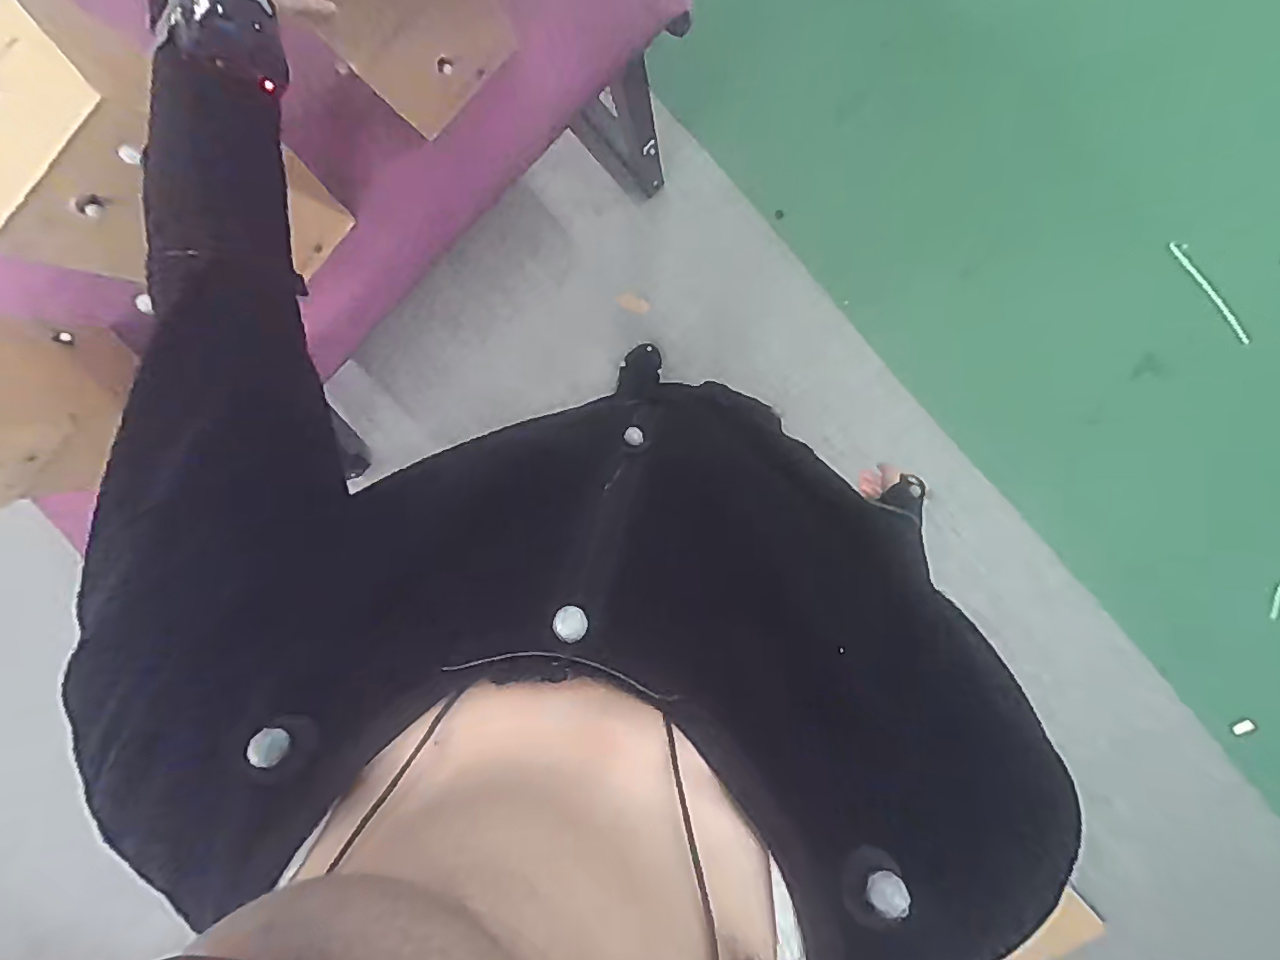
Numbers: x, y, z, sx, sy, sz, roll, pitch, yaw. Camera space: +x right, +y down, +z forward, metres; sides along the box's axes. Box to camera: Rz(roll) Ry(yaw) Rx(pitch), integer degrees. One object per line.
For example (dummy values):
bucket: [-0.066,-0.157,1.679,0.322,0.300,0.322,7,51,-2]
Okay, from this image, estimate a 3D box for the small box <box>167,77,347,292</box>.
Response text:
small box: [-0.515,-0.357,0.673,0.168,0.176,0.179,-43,92,11]

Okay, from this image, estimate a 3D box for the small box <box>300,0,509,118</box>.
small box: [-0.279,-0.557,0.614,0.168,0.176,0.179,-39,93,10]
